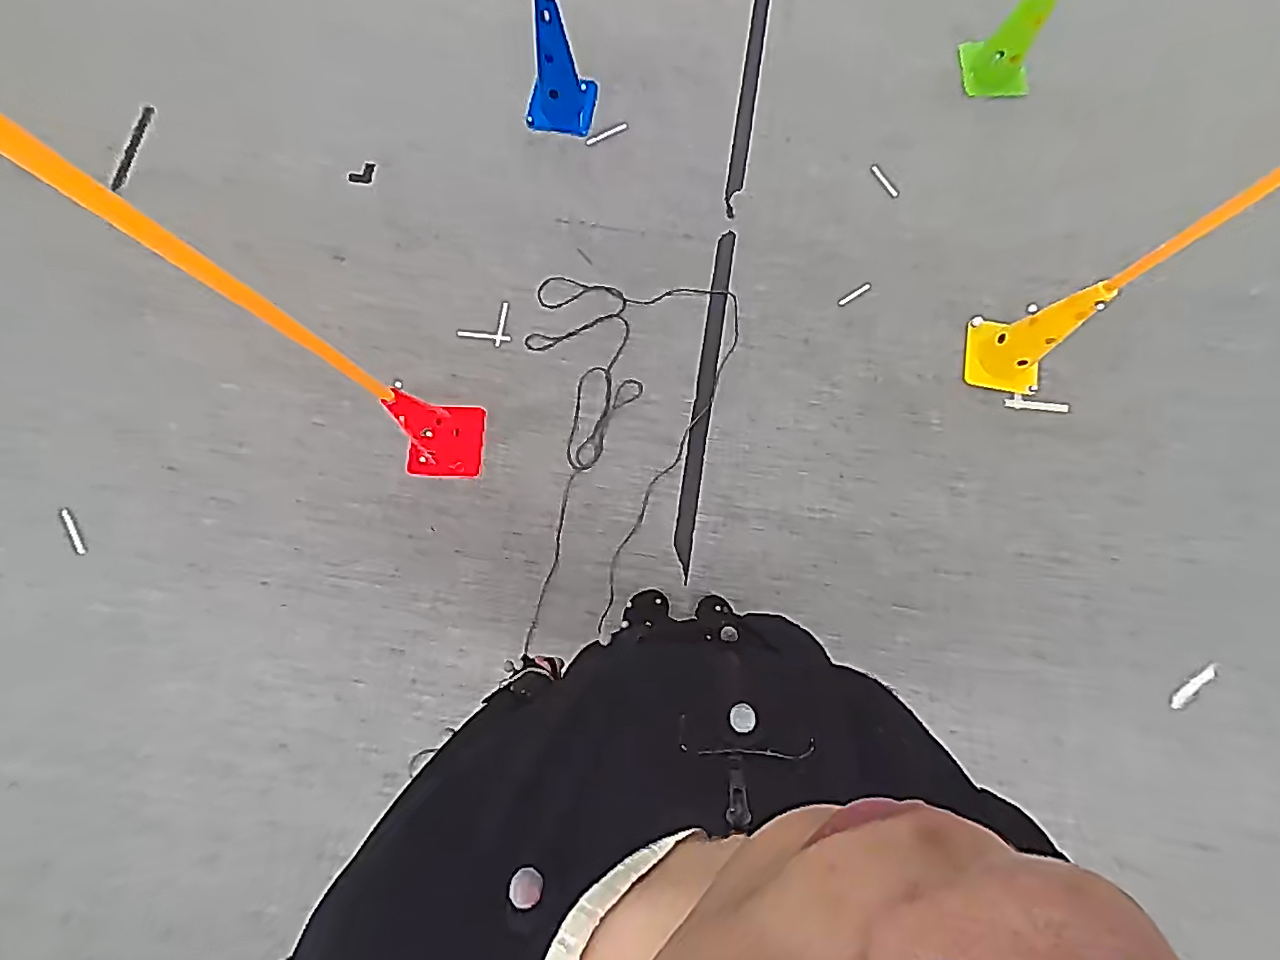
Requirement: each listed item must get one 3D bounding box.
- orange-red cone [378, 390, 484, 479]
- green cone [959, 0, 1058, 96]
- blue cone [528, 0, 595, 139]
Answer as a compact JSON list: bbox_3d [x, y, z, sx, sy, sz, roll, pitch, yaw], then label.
[{"bbox_3d":[-0.525,-0.137,1.293,0.199,0.360,0.198,4,79,0],"label":"orange-red cone"},{"bbox_3d":[1.113,-1.331,1.535,0.200,0.368,0.202,-2,80,0],"label":"green cone"},{"bbox_3d":[-0.245,-1.187,1.524,0.193,0.380,0.192,11,79,3],"label":"blue cone"}]
